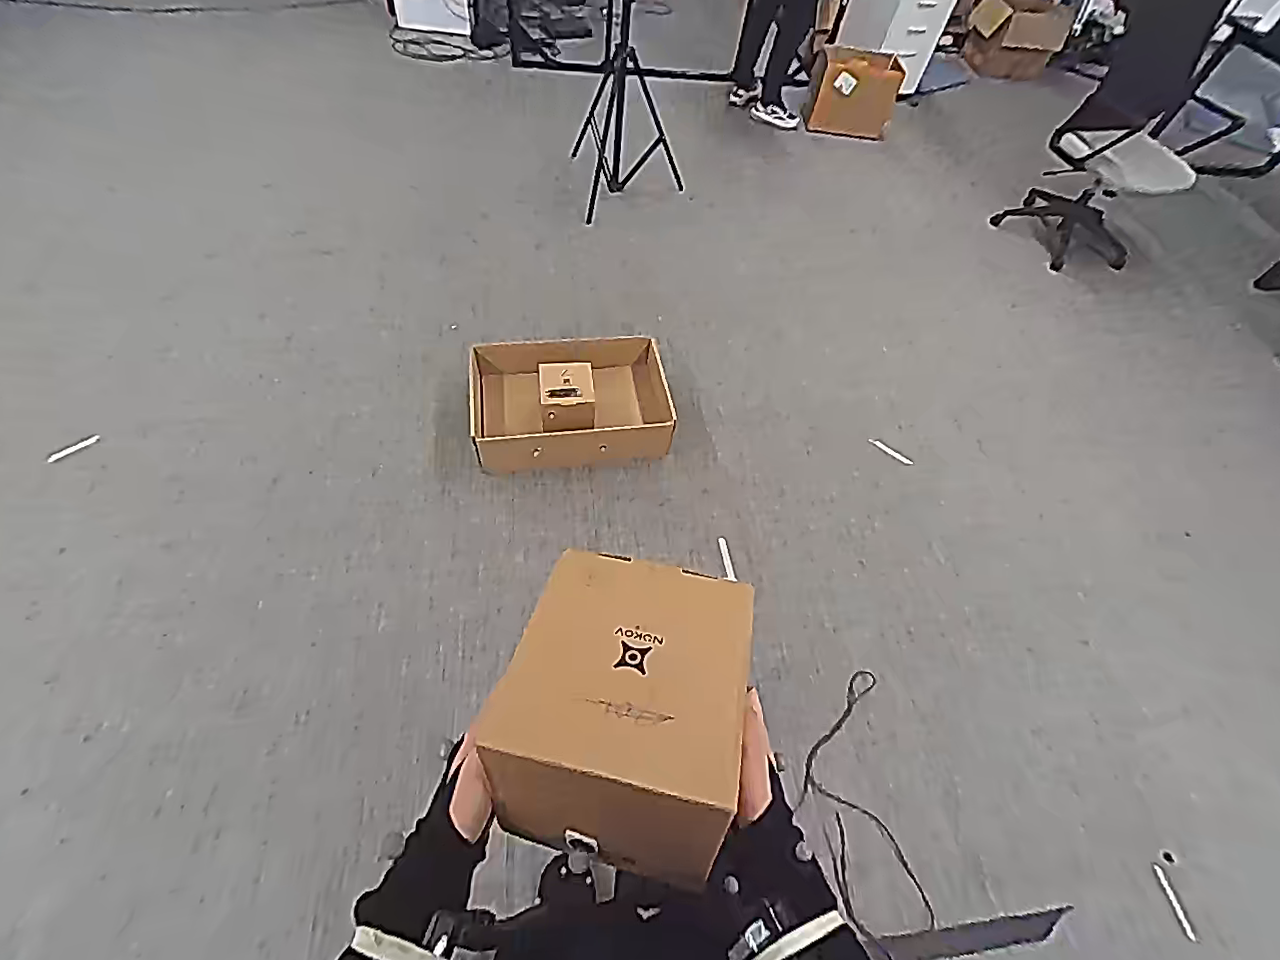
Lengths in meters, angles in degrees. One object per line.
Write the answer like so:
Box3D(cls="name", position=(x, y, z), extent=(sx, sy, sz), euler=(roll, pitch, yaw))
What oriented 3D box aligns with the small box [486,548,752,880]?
Box3D(cls="small box", position=(-0.008, 0.188, 0.447), extent=(0.168, 0.176, 0.179), euler=(9, 41, 8))
